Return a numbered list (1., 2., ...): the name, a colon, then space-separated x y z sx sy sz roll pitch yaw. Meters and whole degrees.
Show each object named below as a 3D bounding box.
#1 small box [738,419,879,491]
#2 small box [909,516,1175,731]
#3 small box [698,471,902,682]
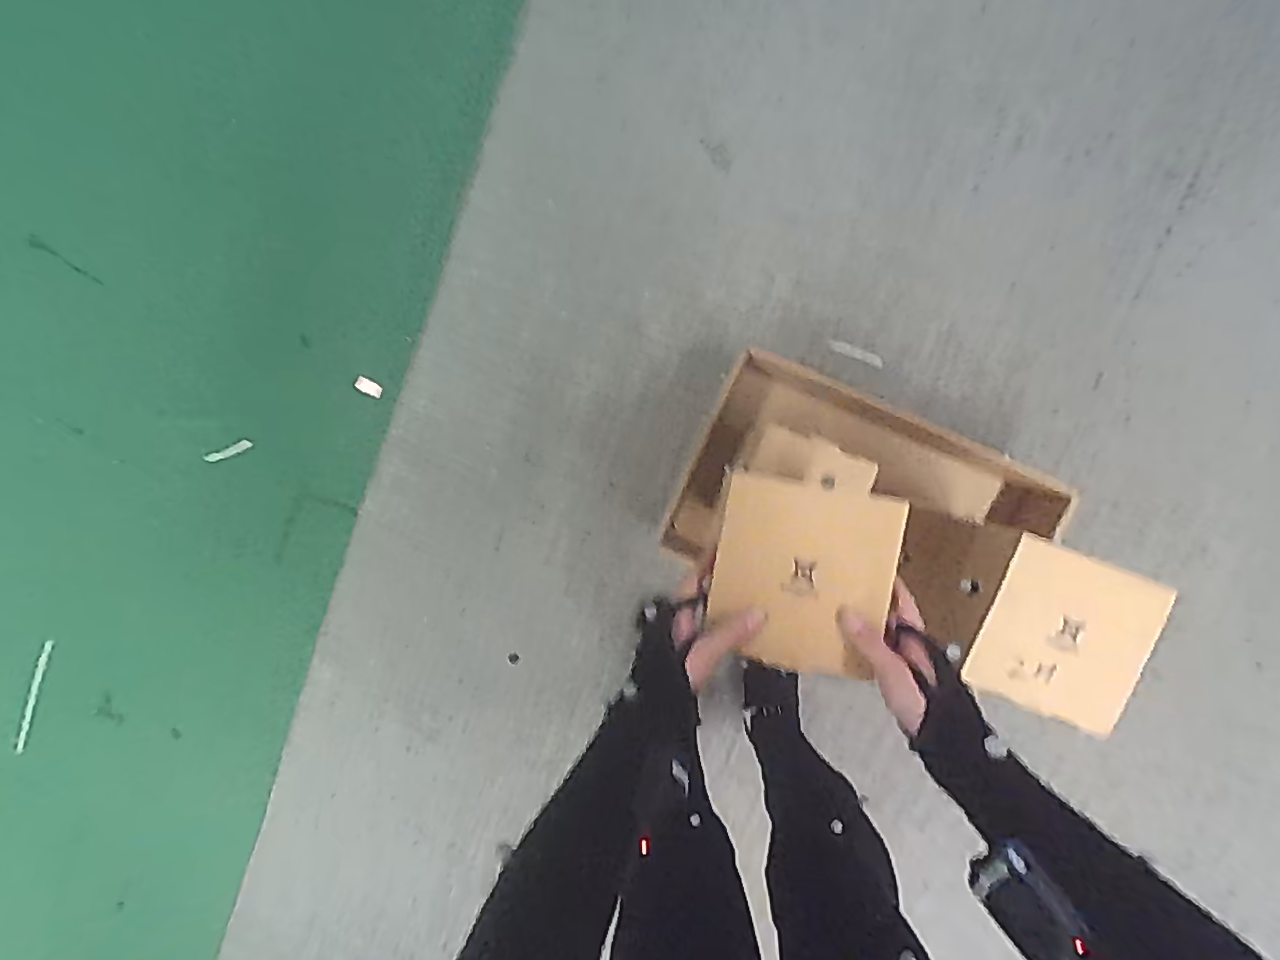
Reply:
1. small box: 0.231 0.022 0.834 0.168 0.176 0.179 23 94 5
2. small box: 0.458 0.154 0.652 0.168 0.176 0.179 22 95 5
3. small box: 0.155 0.087 0.583 0.168 0.176 0.179 9 93 6
